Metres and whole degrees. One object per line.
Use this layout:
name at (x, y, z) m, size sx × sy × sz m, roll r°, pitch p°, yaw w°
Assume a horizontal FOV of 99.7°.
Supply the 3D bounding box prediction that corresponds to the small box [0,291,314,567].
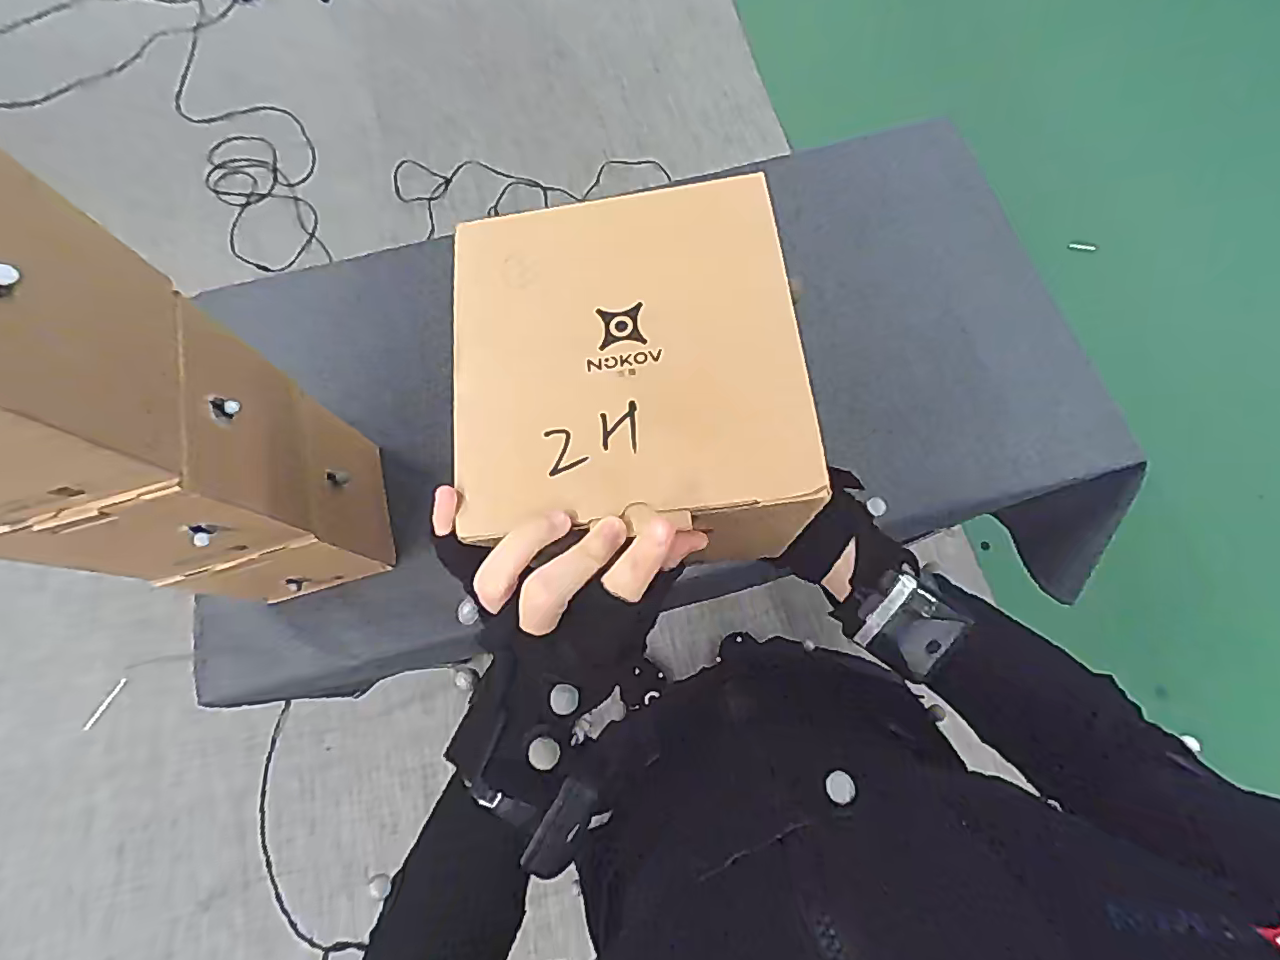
small box at (-0.419, -0.029, 0.479) m, size 0.168 × 0.176 × 0.179 m, roll -15°, pitch 72°, yaw -3°

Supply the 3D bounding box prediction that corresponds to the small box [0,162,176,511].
small box at (-0.427, -0.086, 0.326) m, size 0.168 × 0.176 × 0.179 m, roll -16°, pitch 72°, yaw -4°

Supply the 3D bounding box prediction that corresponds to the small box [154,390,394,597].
small box at (-0.413, 0.025, 0.633) m, size 0.168 × 0.176 × 0.179 m, roll -16°, pitch 73°, yaw -3°

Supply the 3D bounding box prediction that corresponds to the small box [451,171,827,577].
small box at (0.000, -0.044, 0.333) m, size 0.168 × 0.176 × 0.179 m, roll -7°, pitch 73°, yaw 5°
